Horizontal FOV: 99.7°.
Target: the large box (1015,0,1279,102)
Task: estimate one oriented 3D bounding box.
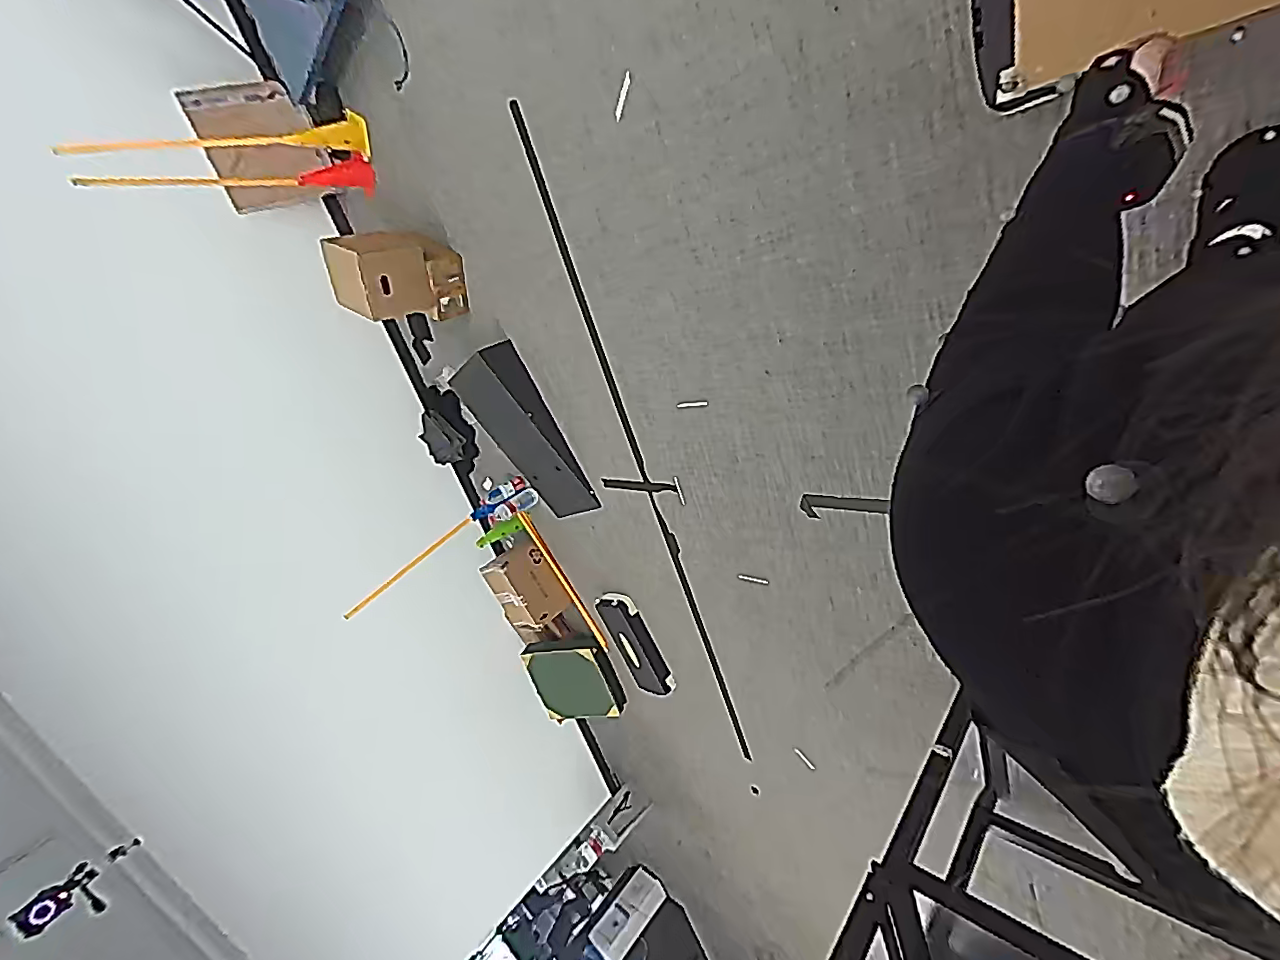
[{"bbox_3d":[0.697,-0.689,0.604,0.408,0.320,0.320,9,123,47],"label":"large box"}]

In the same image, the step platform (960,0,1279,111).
[{"bbox_3d":[0.846,-0.789,0.762,0.684,0.204,0.286,12,126,45],"label":"step platform"}]
